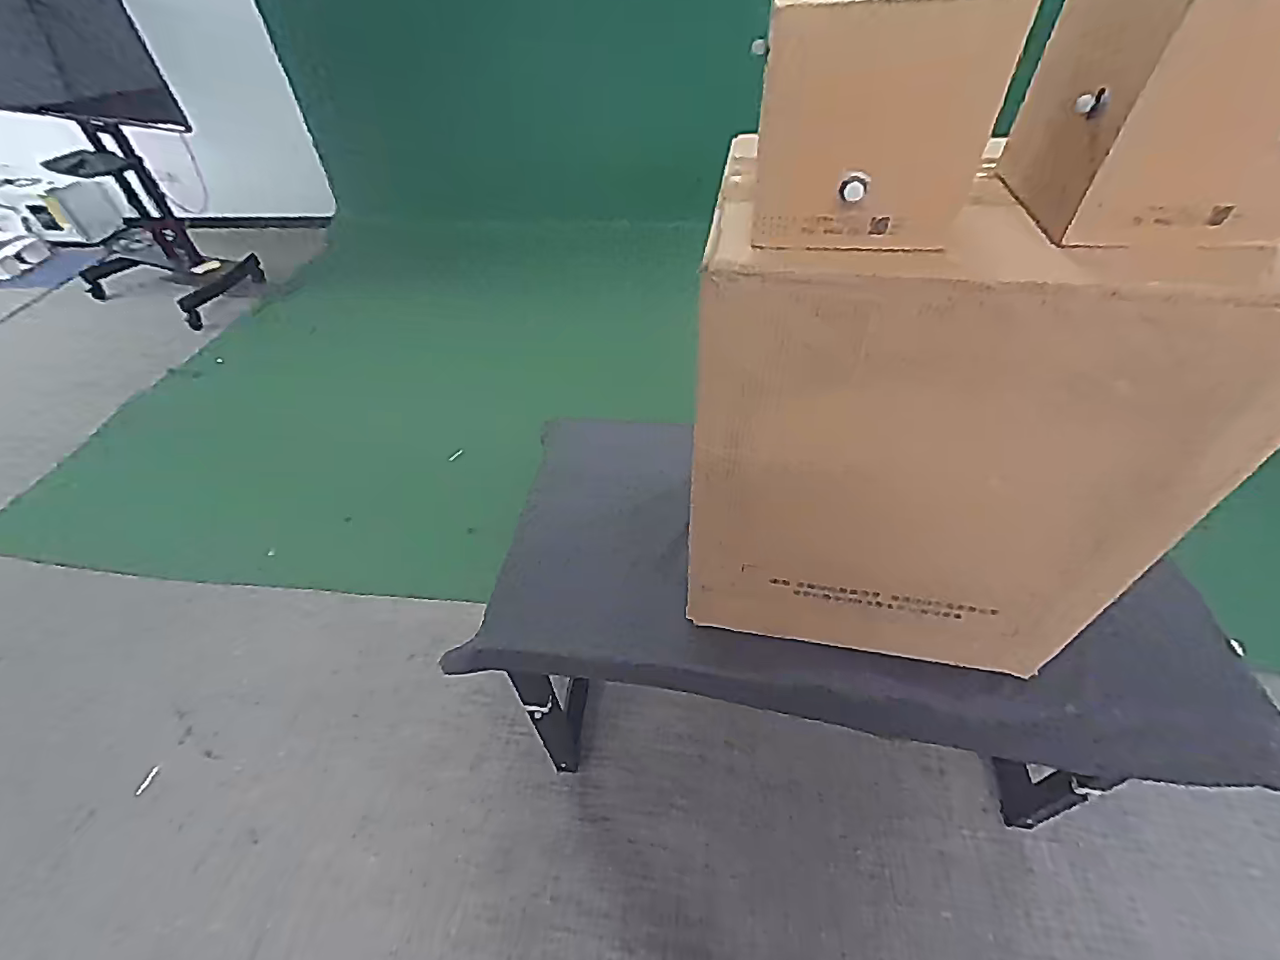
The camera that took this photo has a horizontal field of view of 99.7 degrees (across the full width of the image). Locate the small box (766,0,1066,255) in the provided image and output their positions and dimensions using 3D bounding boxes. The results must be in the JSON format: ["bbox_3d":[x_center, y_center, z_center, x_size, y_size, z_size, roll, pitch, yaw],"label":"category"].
[{"bbox_3d":[0.201,-0.312,0.454,0.168,0.176,0.179,7,50,10],"label":"small box"}]

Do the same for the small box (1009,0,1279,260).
[{"bbox_3d":[0.447,-0.296,0.437,0.168,0.176,0.179,5,48,3],"label":"small box"}]
